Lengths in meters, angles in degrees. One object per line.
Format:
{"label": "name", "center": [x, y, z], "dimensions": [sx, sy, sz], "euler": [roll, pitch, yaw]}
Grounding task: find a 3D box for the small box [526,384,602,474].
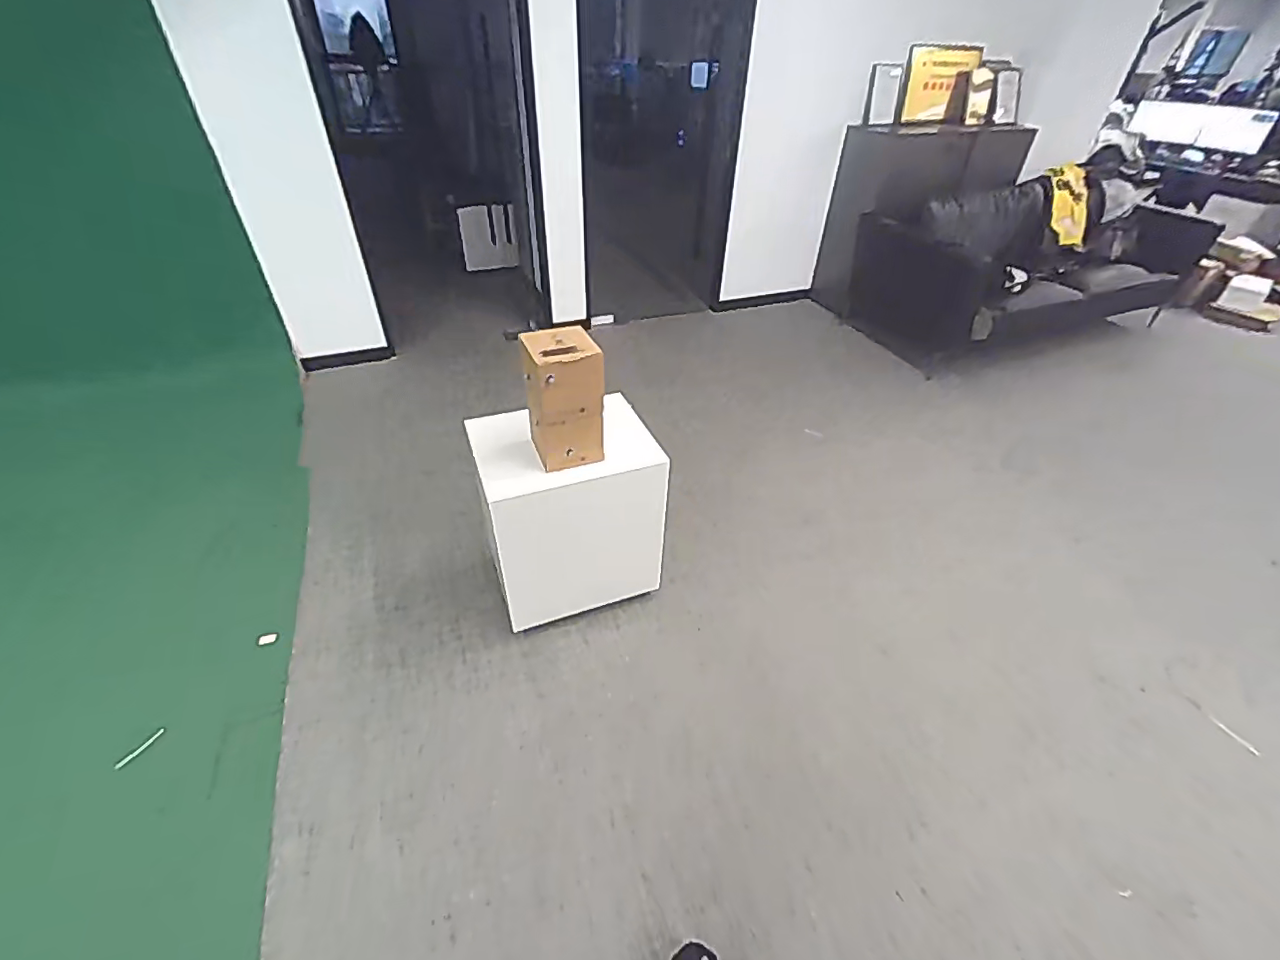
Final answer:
{"label": "small box", "center": [-0.208, -0.140, 1.481], "dimensions": [0.168, 0.176, 0.179], "euler": [-13, 41, -19]}
